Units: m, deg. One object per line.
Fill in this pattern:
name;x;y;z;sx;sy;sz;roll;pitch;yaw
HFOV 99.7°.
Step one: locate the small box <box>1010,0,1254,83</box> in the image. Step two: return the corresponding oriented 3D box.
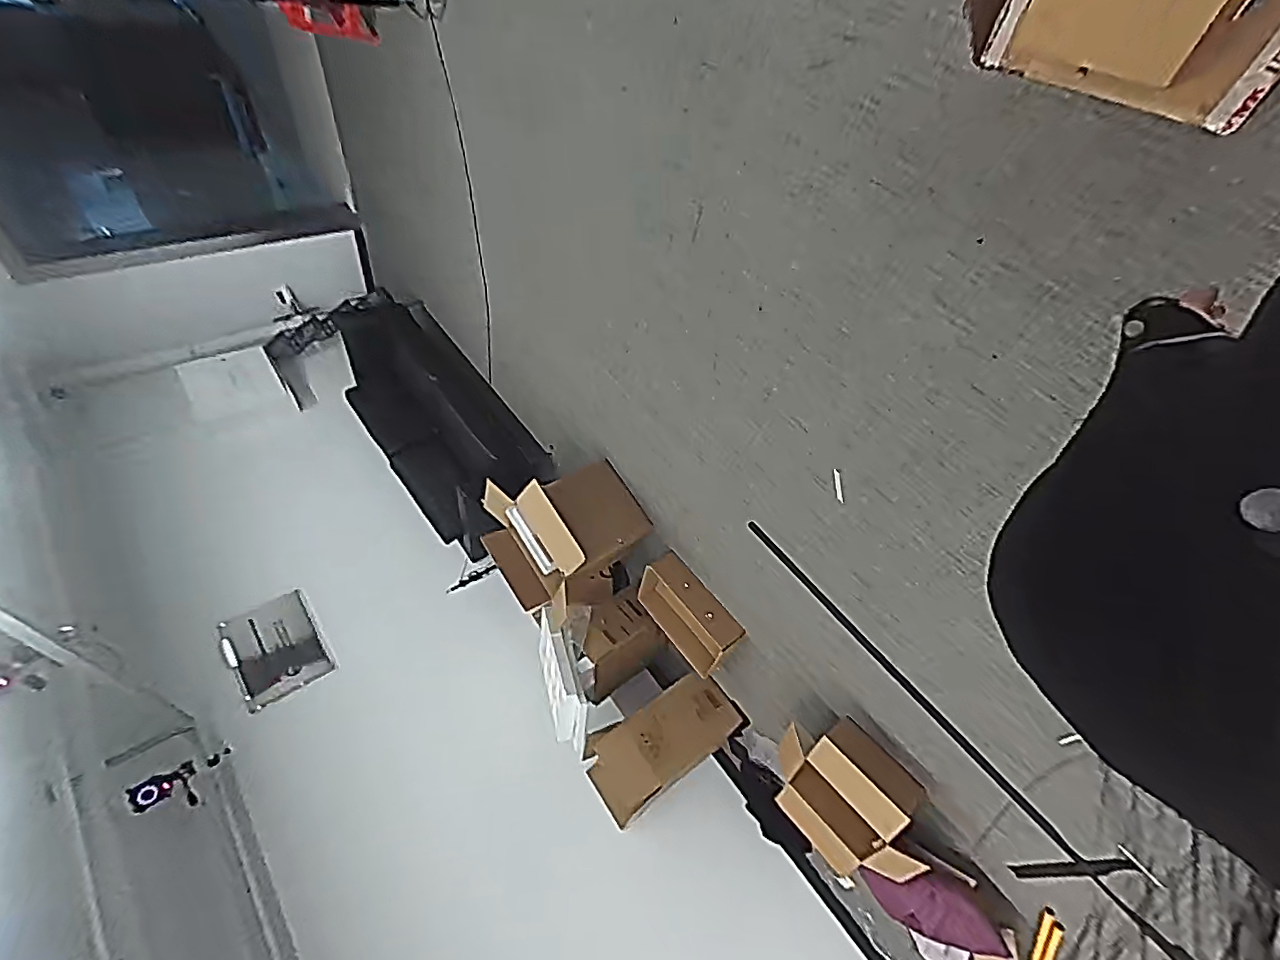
small box;0.558;-0.551;0.579;0.179;0.176;0.168;41;146;25
